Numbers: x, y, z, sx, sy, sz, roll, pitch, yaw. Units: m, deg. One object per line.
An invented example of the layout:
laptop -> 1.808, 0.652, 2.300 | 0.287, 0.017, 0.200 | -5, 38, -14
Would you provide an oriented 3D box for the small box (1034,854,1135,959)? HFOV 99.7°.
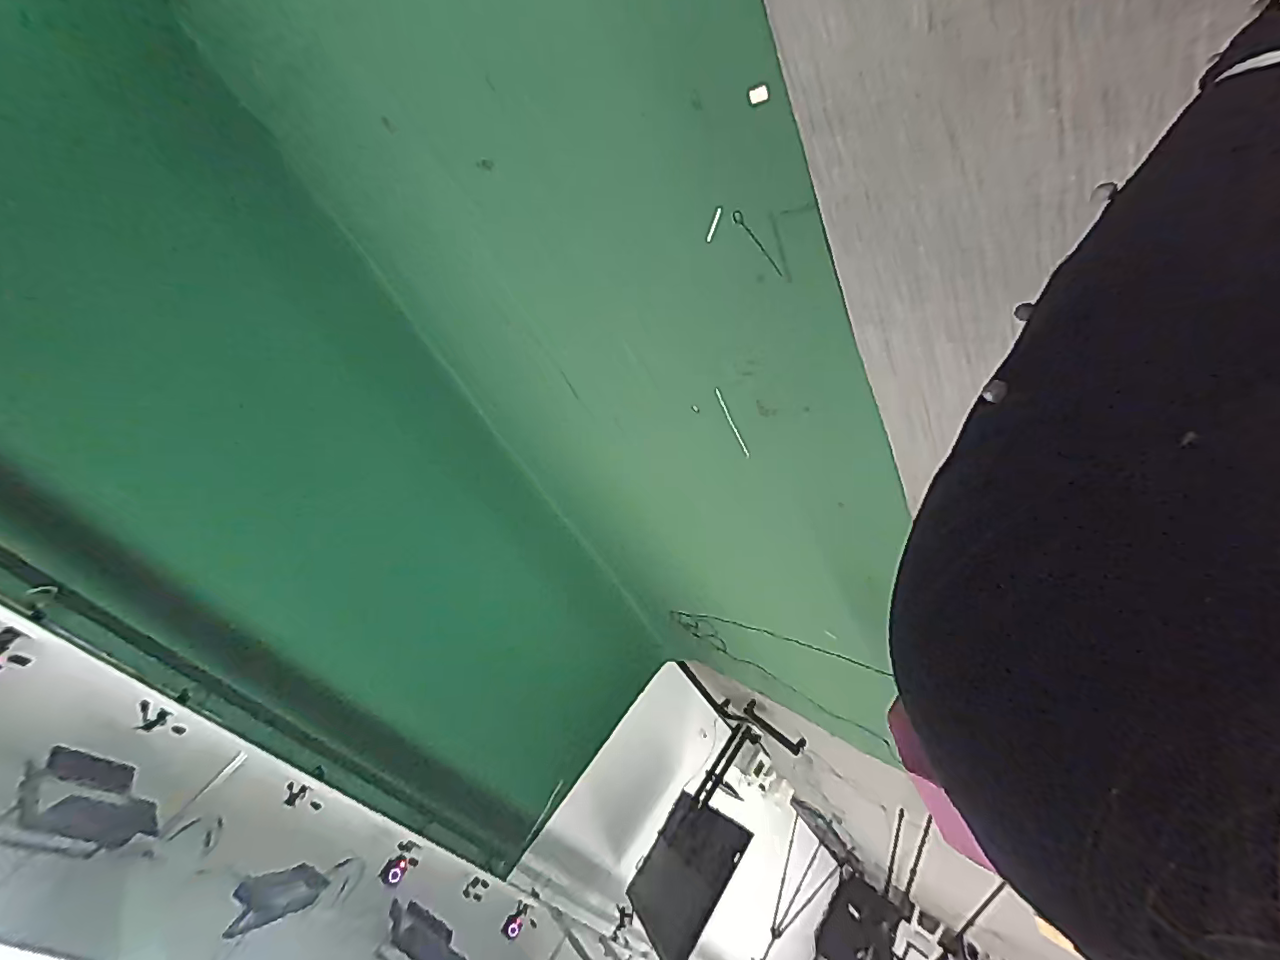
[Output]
small box -> 1.158, 1.128, 1.408 | 0.179, 0.176, 0.168 | 13, 143, 48
